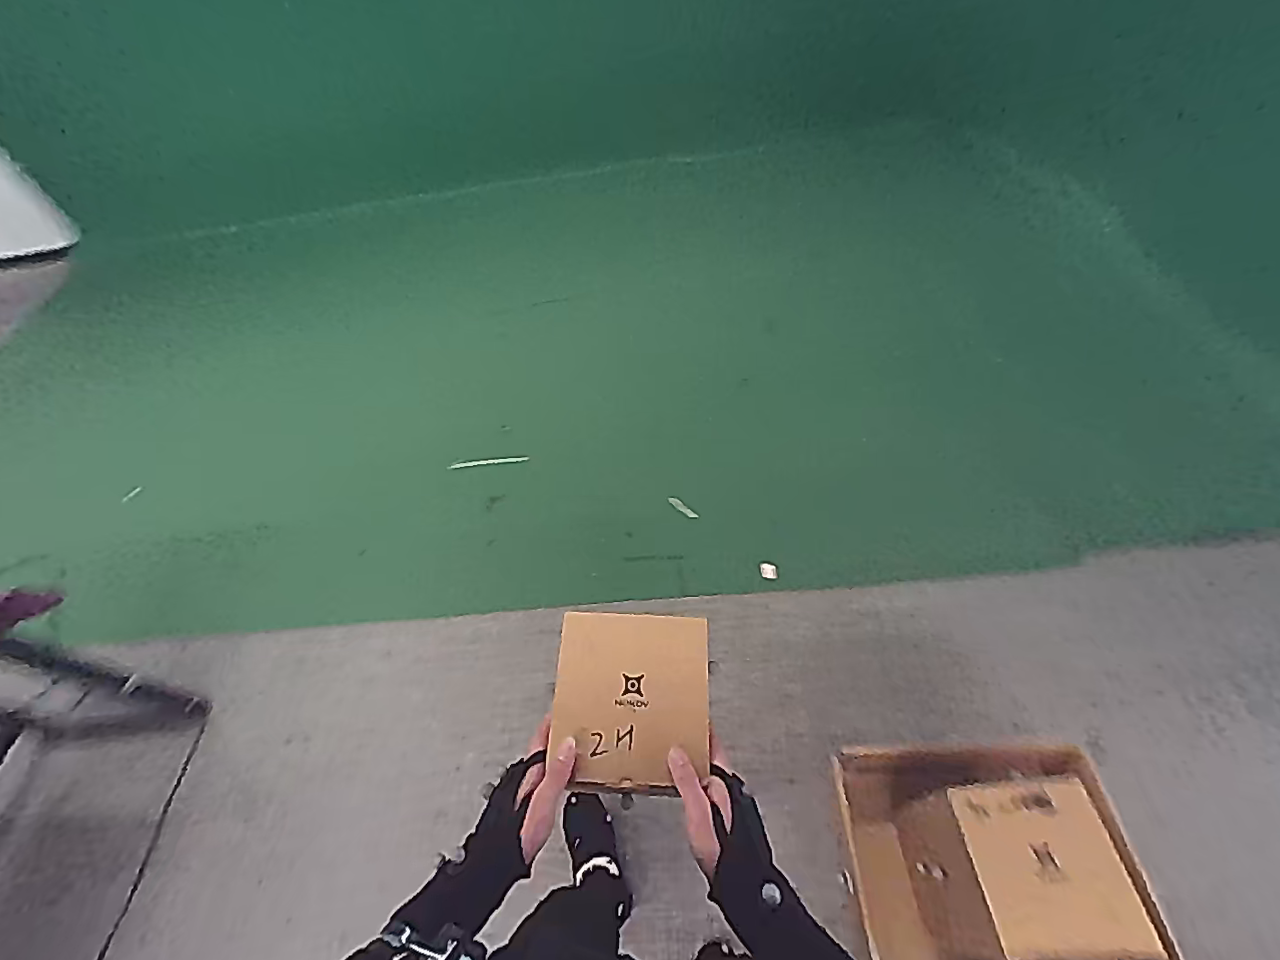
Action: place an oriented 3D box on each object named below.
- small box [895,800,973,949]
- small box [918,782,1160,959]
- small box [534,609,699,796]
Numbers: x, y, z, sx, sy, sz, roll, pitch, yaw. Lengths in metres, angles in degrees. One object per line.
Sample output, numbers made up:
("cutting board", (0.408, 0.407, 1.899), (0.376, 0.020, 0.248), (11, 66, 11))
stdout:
("small box", (0.515, 0.602, 0.834), (0.168, 0.176, 0.179), (-6, 54, 6))
("small box", (0.492, 0.505, 0.703), (0.168, 0.176, 0.179), (-7, 54, 5))
("small box", (-0.021, 0.267, 0.642), (0.168, 0.176, 0.179), (1, 57, 1))
